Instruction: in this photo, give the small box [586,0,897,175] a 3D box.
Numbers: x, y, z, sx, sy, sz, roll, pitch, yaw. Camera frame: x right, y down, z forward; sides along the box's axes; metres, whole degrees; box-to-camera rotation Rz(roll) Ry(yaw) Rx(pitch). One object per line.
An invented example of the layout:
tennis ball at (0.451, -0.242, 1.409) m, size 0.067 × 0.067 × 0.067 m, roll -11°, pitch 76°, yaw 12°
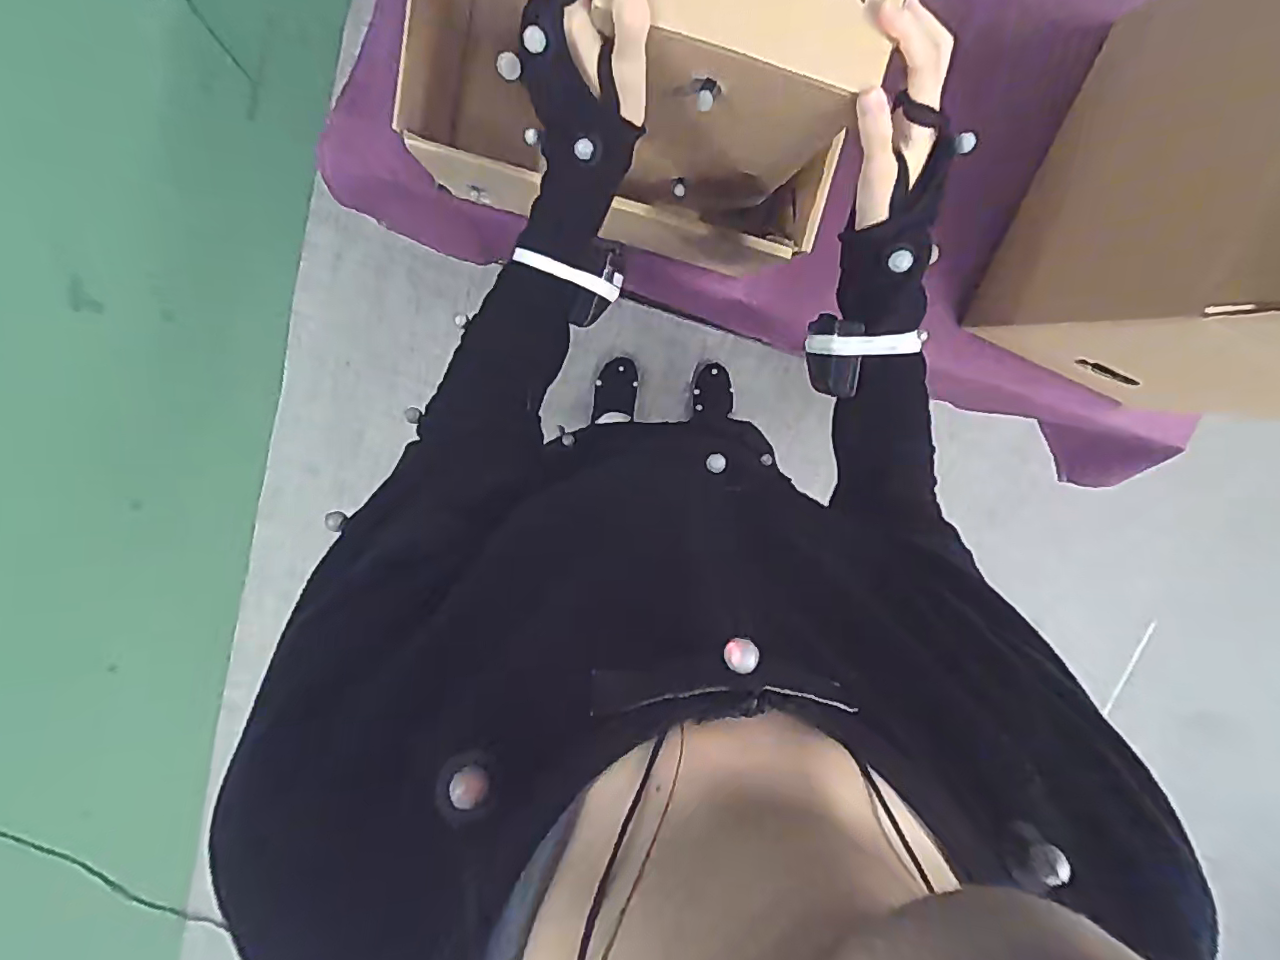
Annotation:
small box at (0.067, -0.340, 0.375) m, size 0.179 × 0.176 × 0.168 m, roll 13°, pitch 103°, yaw -7°
